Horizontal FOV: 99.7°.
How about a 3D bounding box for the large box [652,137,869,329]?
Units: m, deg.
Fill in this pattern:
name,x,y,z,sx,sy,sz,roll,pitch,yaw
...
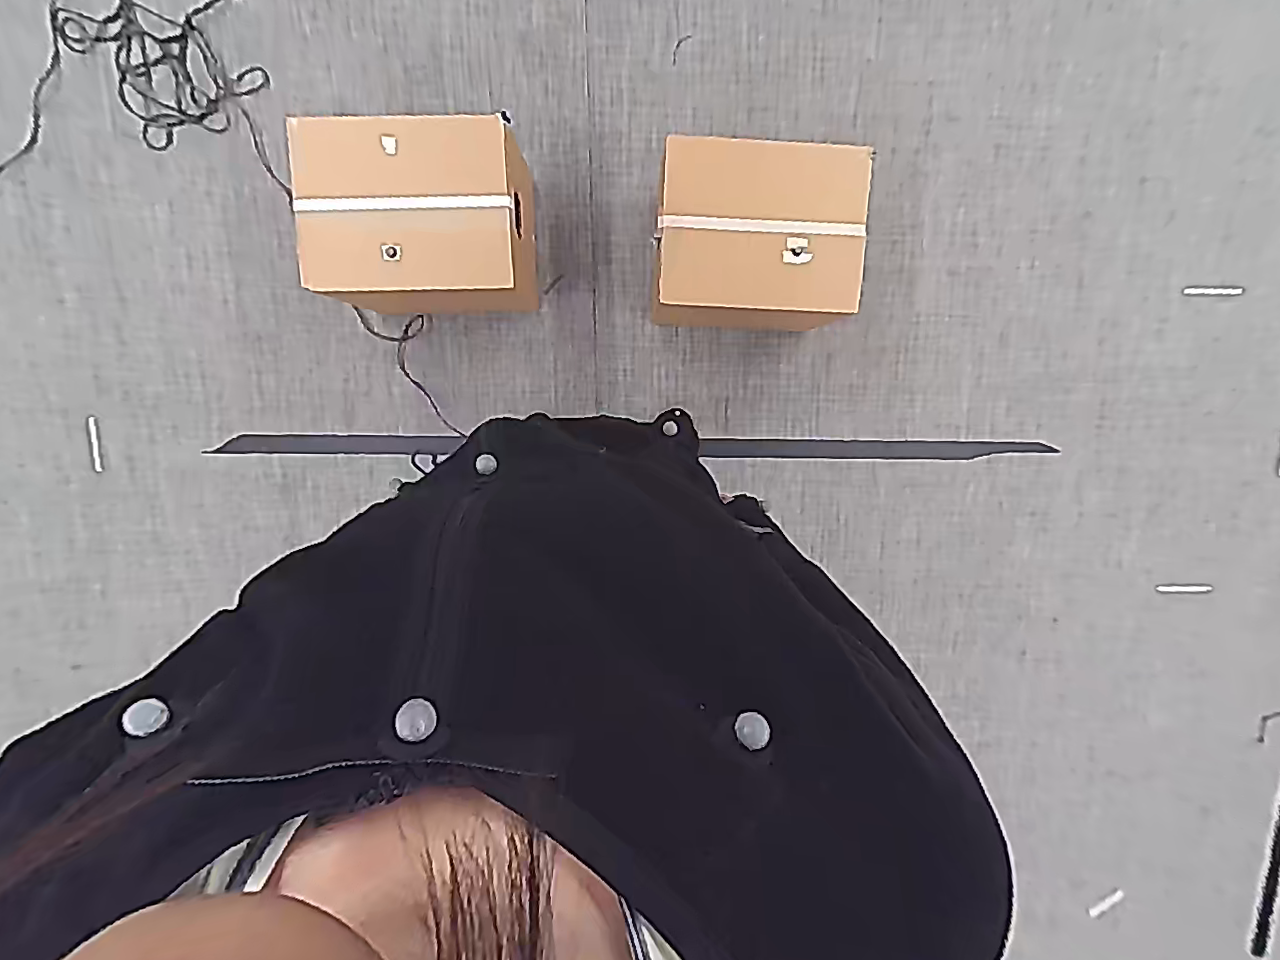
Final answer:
name,x,y,z,sx,sy,sz,roll,pitch,yaw
large box,0.238,-0.522,1.213,0.408,0.320,0.320,2,99,-3
